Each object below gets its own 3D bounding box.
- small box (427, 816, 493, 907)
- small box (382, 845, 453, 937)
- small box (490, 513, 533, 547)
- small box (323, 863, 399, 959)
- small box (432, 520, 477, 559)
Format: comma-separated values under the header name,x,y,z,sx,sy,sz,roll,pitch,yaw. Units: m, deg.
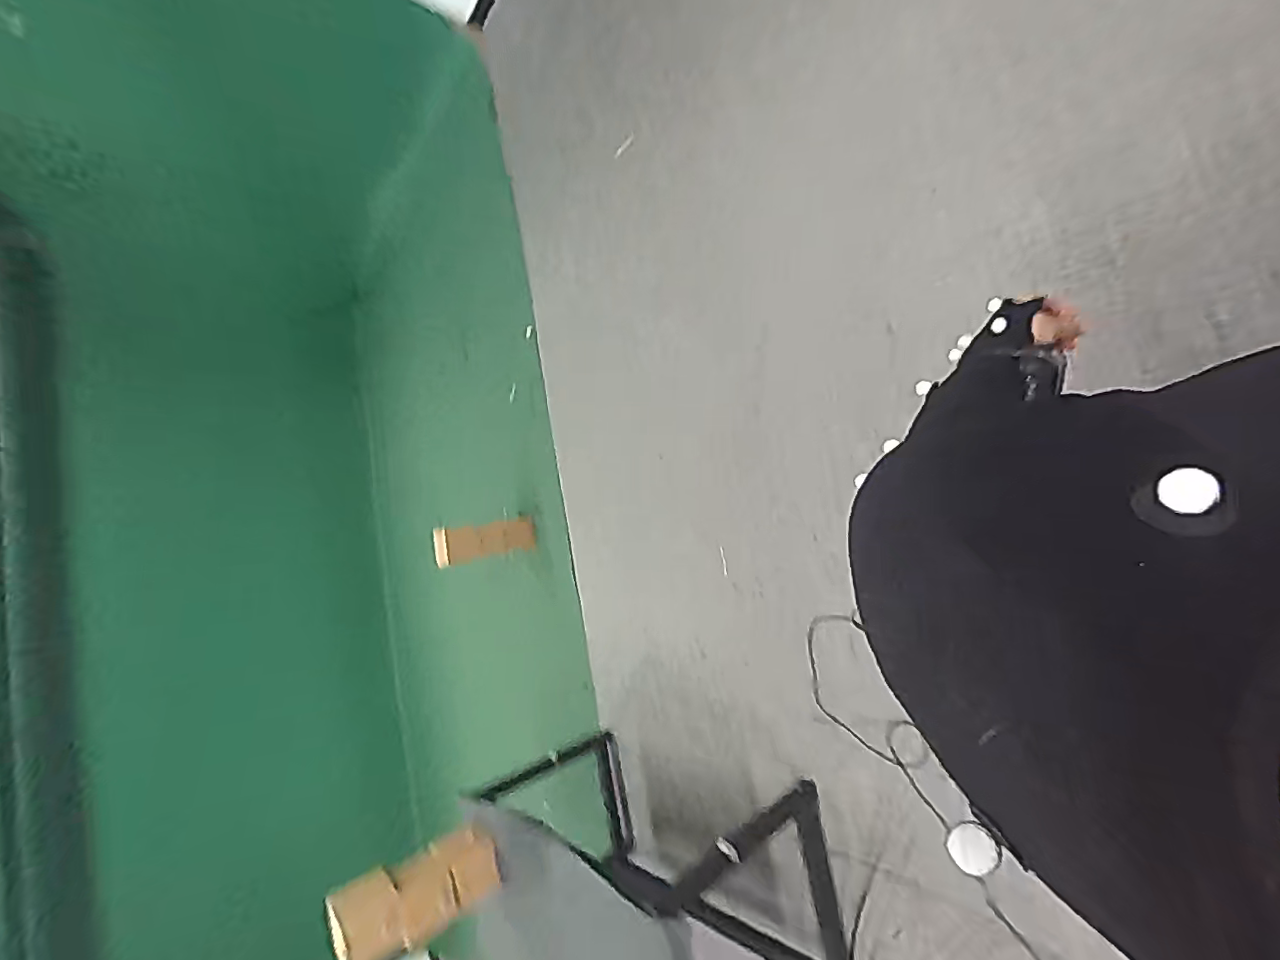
name,x,y,z,sx,sy,sz,roll,pitch,yaw
small box,-0.642,1.358,1.938,0.168,0.176,0.179,-7,90,48
small box,-0.754,1.372,1.822,0.179,0.176,0.168,-19,83,46
small box,-0.719,0.276,3.030,0.168,0.176,0.179,-10,87,48
small box,-0.888,1.370,1.722,0.179,0.176,0.168,-11,89,48
small box,-0.963,0.309,2.813,0.168,0.176,0.179,-11,86,49
